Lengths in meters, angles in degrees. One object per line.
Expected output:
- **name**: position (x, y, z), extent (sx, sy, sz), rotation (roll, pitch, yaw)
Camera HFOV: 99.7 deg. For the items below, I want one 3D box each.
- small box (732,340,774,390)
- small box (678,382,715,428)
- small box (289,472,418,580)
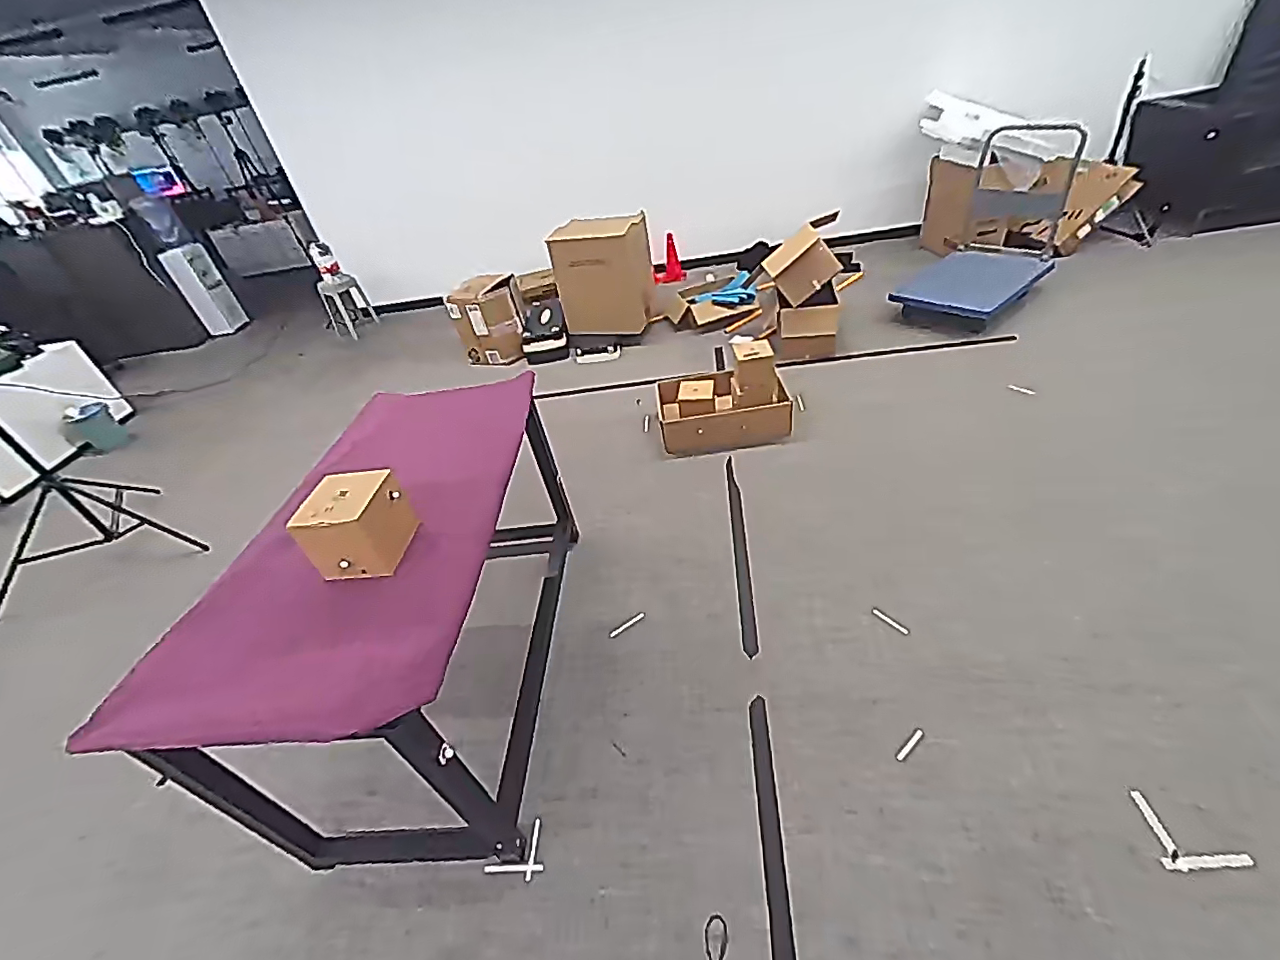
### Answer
- **small box**: position (0.532, -0.534, 2.545), extent (0.168, 0.176, 0.179), rotation (-8, 37, 5)
- **small box**: position (0.284, -0.370, 2.676), extent (0.168, 0.176, 0.179), rotation (-1, 39, 11)
- **small box**: position (-0.630, 0.104, 1.218), extent (0.168, 0.176, 0.179), rotation (-6, 38, 9)
